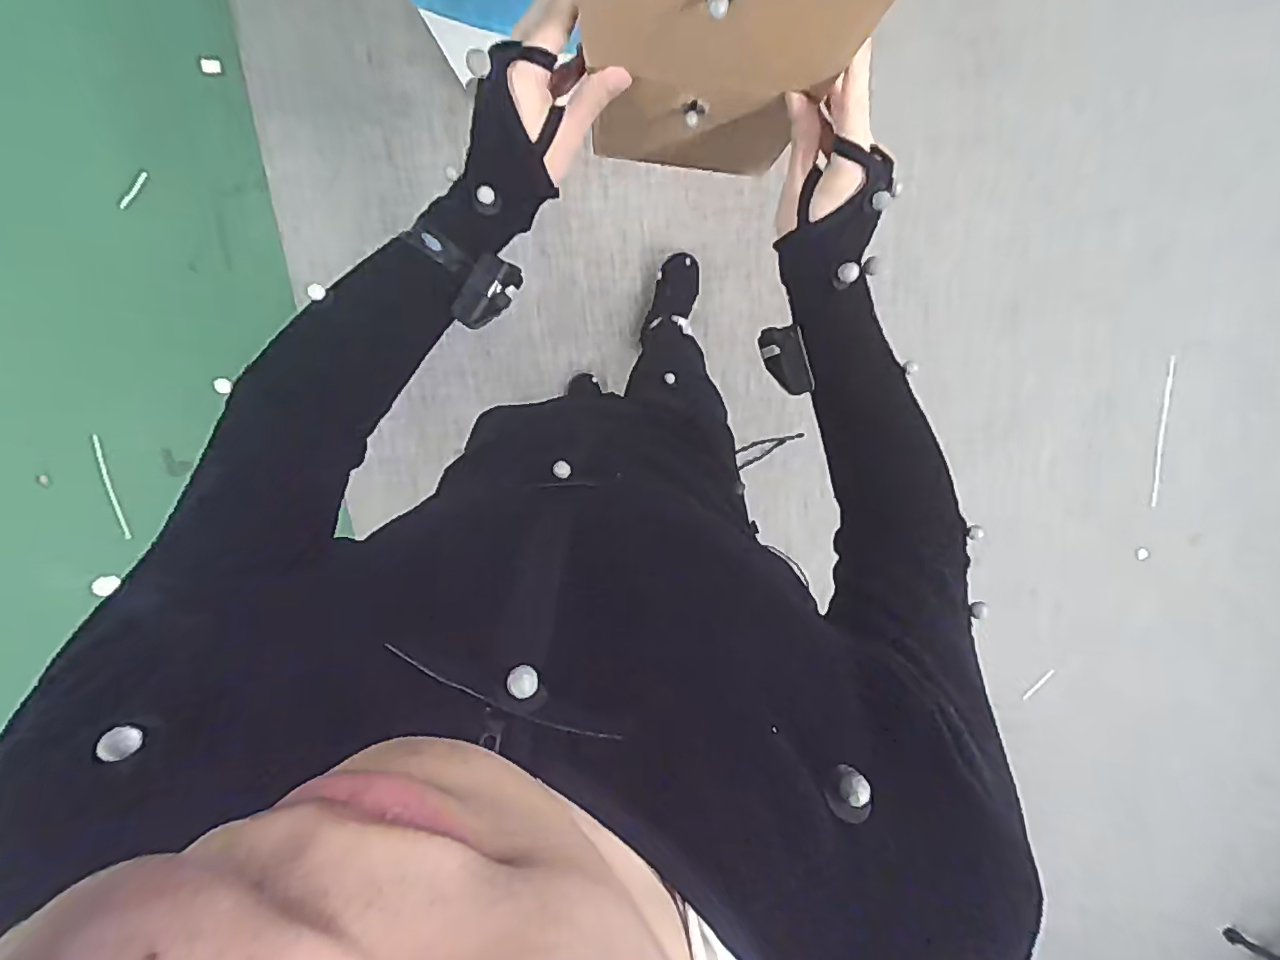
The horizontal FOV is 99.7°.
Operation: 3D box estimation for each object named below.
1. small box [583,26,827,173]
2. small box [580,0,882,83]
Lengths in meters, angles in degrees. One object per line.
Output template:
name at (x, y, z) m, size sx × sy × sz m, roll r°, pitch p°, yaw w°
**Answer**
small box at (0.052, -0.379, 0.448) m, size 0.179 × 0.176 × 0.168 m, roll 6°, pitch 101°, yaw -4°
small box at (0.059, -0.348, 0.287) m, size 0.179 × 0.176 × 0.168 m, roll 5°, pitch 101°, yaw -3°
